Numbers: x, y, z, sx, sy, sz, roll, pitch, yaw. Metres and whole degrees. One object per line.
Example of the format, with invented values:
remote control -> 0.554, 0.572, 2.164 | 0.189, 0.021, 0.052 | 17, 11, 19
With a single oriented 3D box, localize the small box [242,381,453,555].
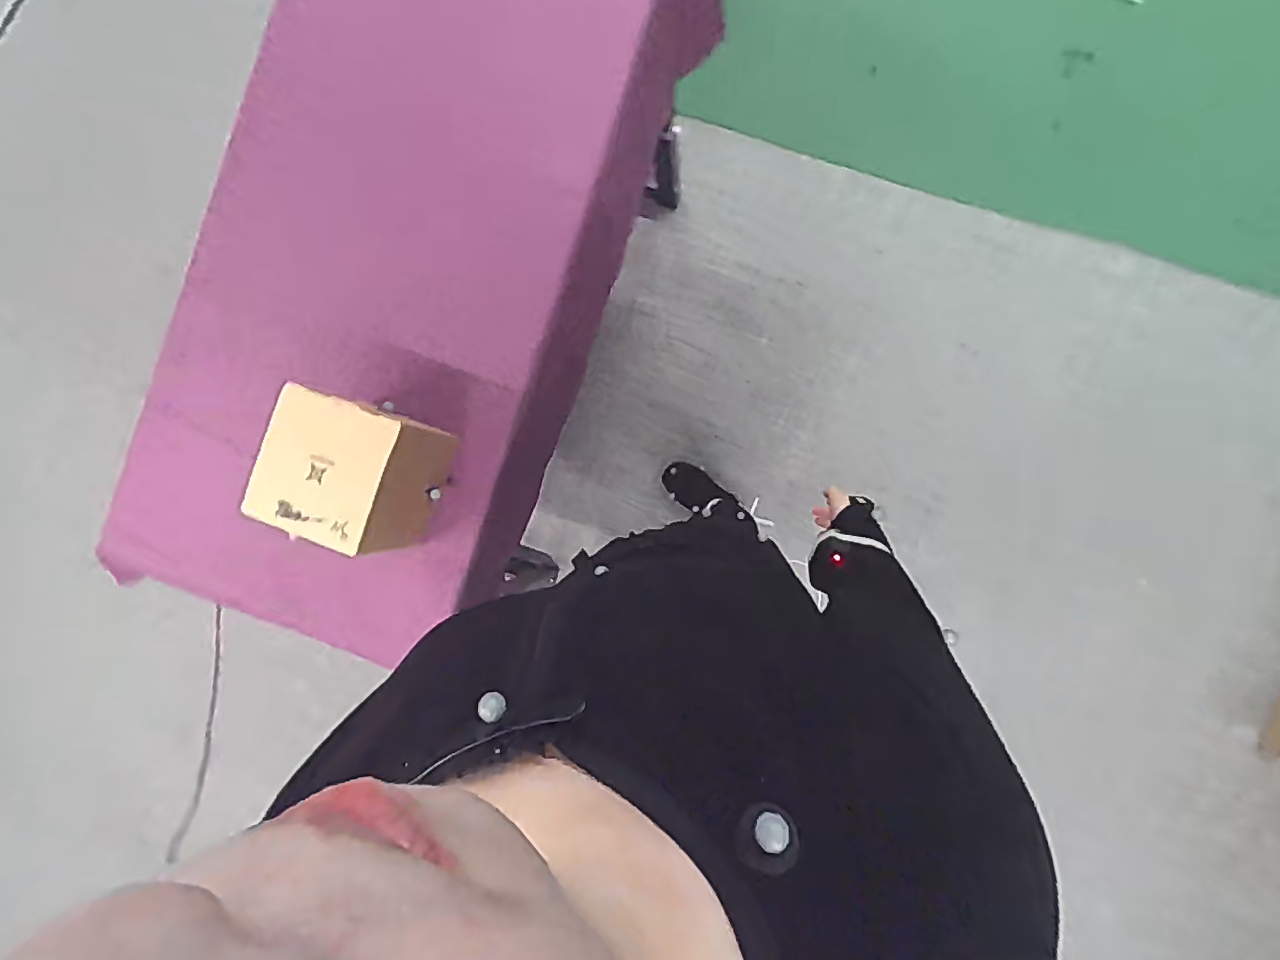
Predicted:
small box -> -0.384, -0.013, 0.745 | 0.168, 0.176, 0.179 | 20, 89, 7
